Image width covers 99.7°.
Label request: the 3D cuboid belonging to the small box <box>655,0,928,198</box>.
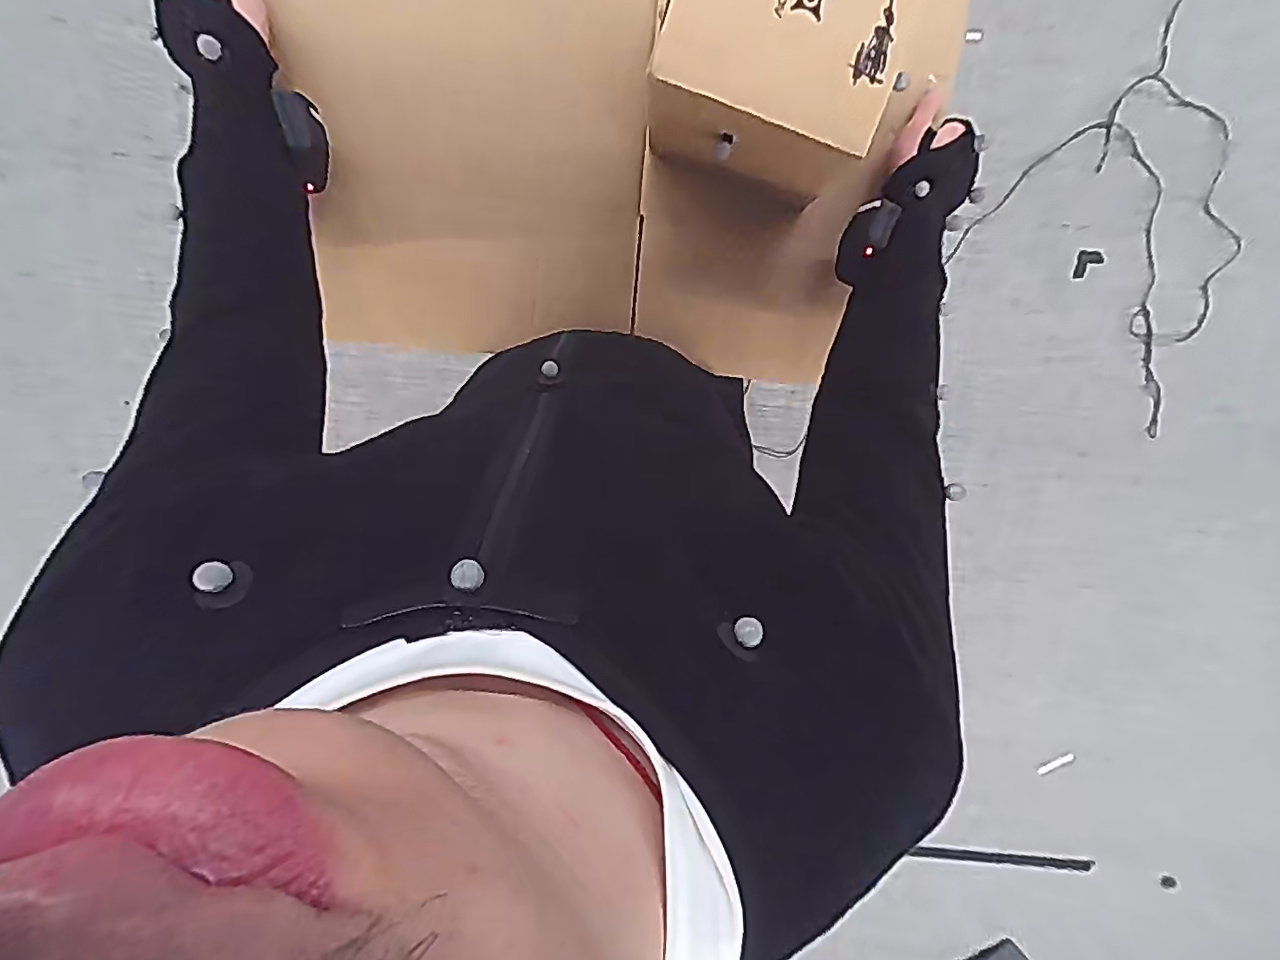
[{"bbox_3d":[0.121,-0.370,0.466,0.179,0.176,0.168,19,105,-2],"label":"small box"}]
